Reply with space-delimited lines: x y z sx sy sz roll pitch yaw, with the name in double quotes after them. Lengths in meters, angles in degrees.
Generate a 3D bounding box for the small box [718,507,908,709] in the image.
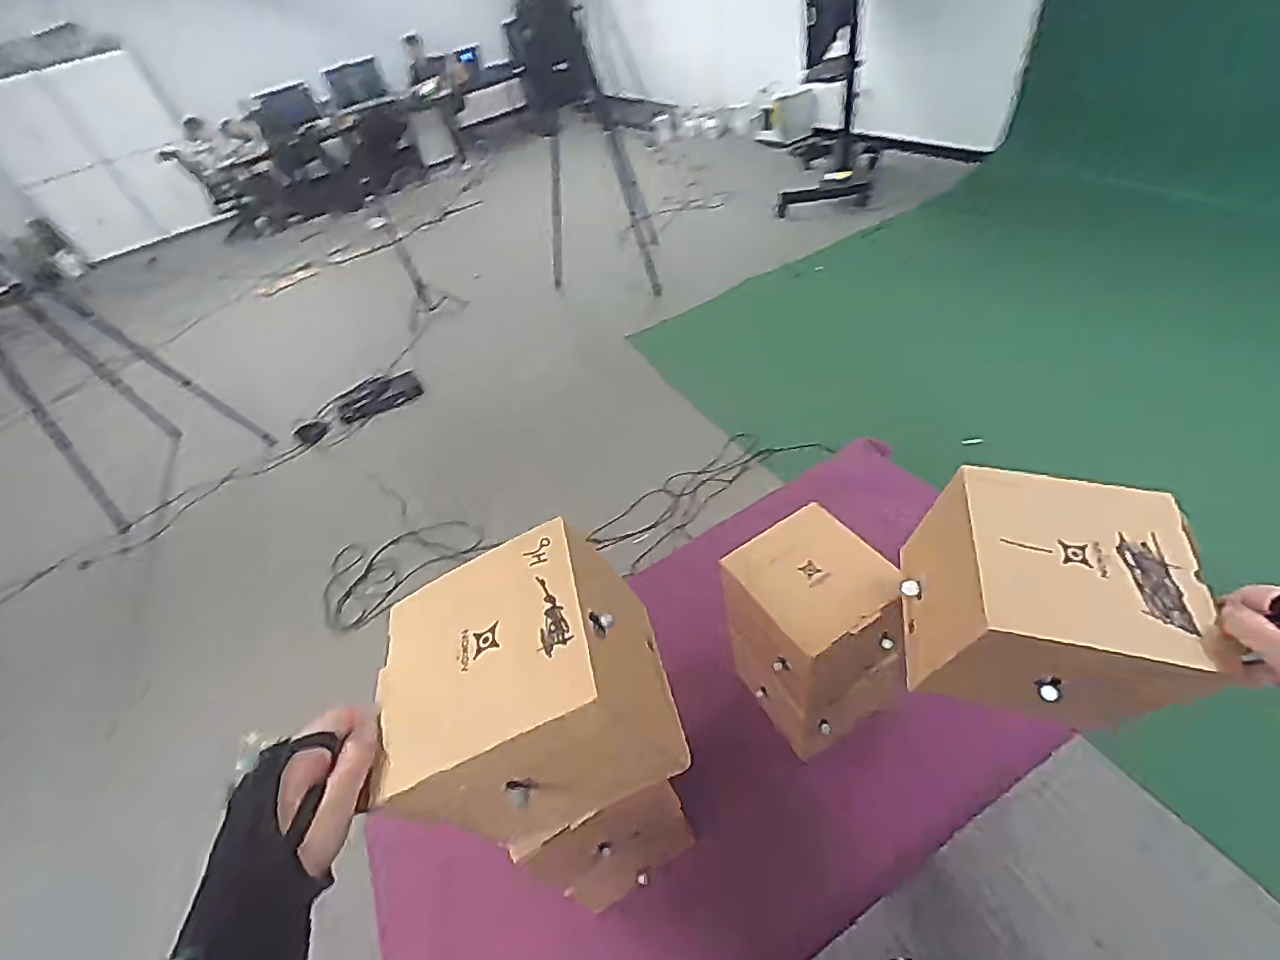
0.225 0.175 0.720 0.168 0.176 0.179 -28 45 -14 "small box"

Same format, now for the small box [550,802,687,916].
-0.052 0.455 0.749 0.168 0.176 0.179 -28 46 -13 "small box"

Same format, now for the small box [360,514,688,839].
-0.085 0.166 0.442 0.179 0.176 0.168 -27 44 8 "small box"

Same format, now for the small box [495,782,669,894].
-0.083 0.340 0.638 0.168 0.176 0.179 -29 47 -15 "small box"

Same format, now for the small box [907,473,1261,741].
0.365 0.121 0.493 0.179 0.176 0.168 11 54 11 "small box"
